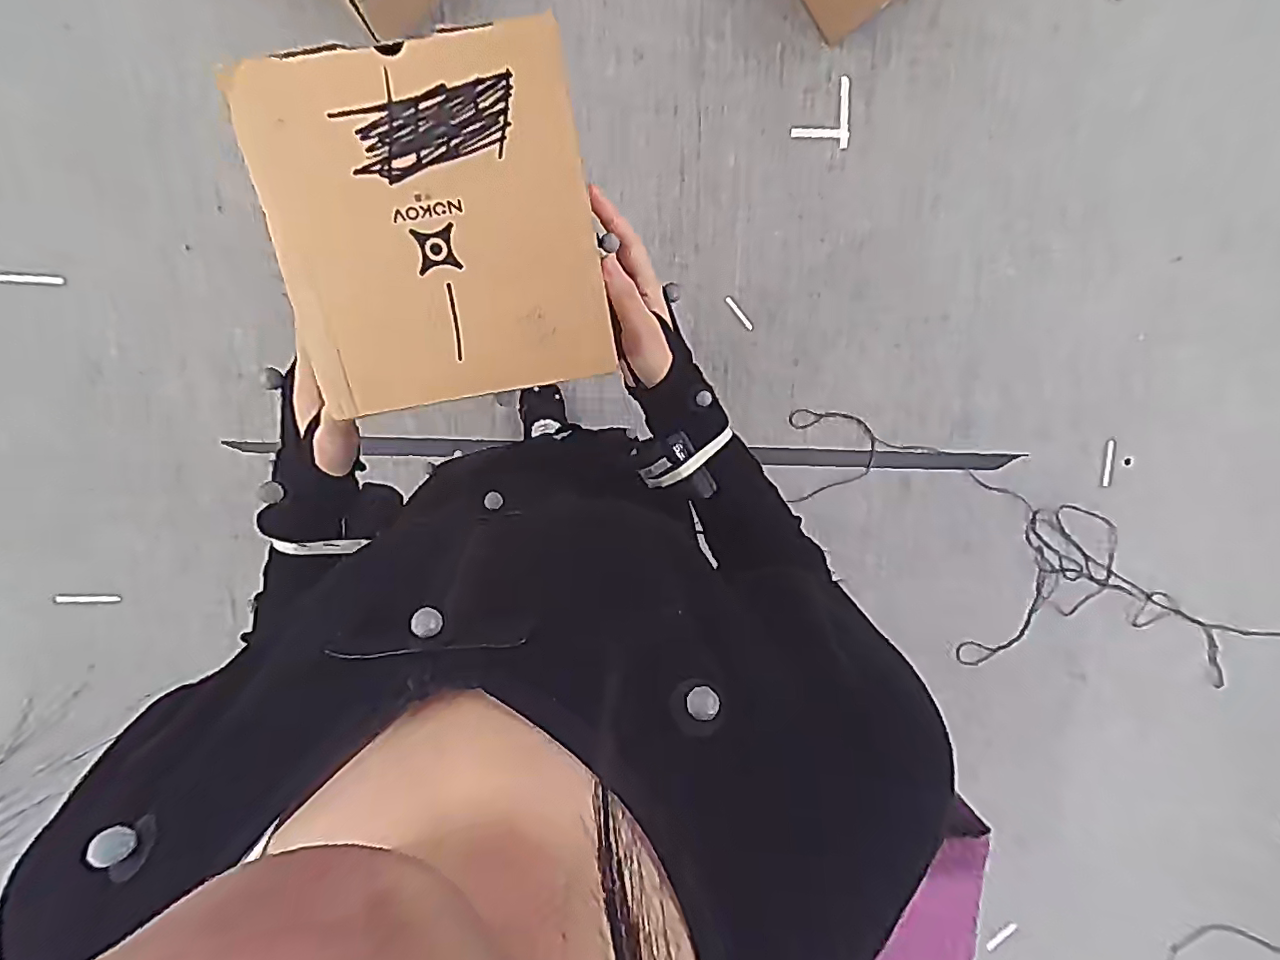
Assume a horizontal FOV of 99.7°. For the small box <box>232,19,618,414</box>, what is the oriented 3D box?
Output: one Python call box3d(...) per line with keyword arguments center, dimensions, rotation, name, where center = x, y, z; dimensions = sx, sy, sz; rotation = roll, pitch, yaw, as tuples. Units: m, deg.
box3d(center=(-0.111, -0.152, 0.362), dimensions=(0.168, 0.176, 0.179), rotation=(-10, 106, -1), name="small box")
